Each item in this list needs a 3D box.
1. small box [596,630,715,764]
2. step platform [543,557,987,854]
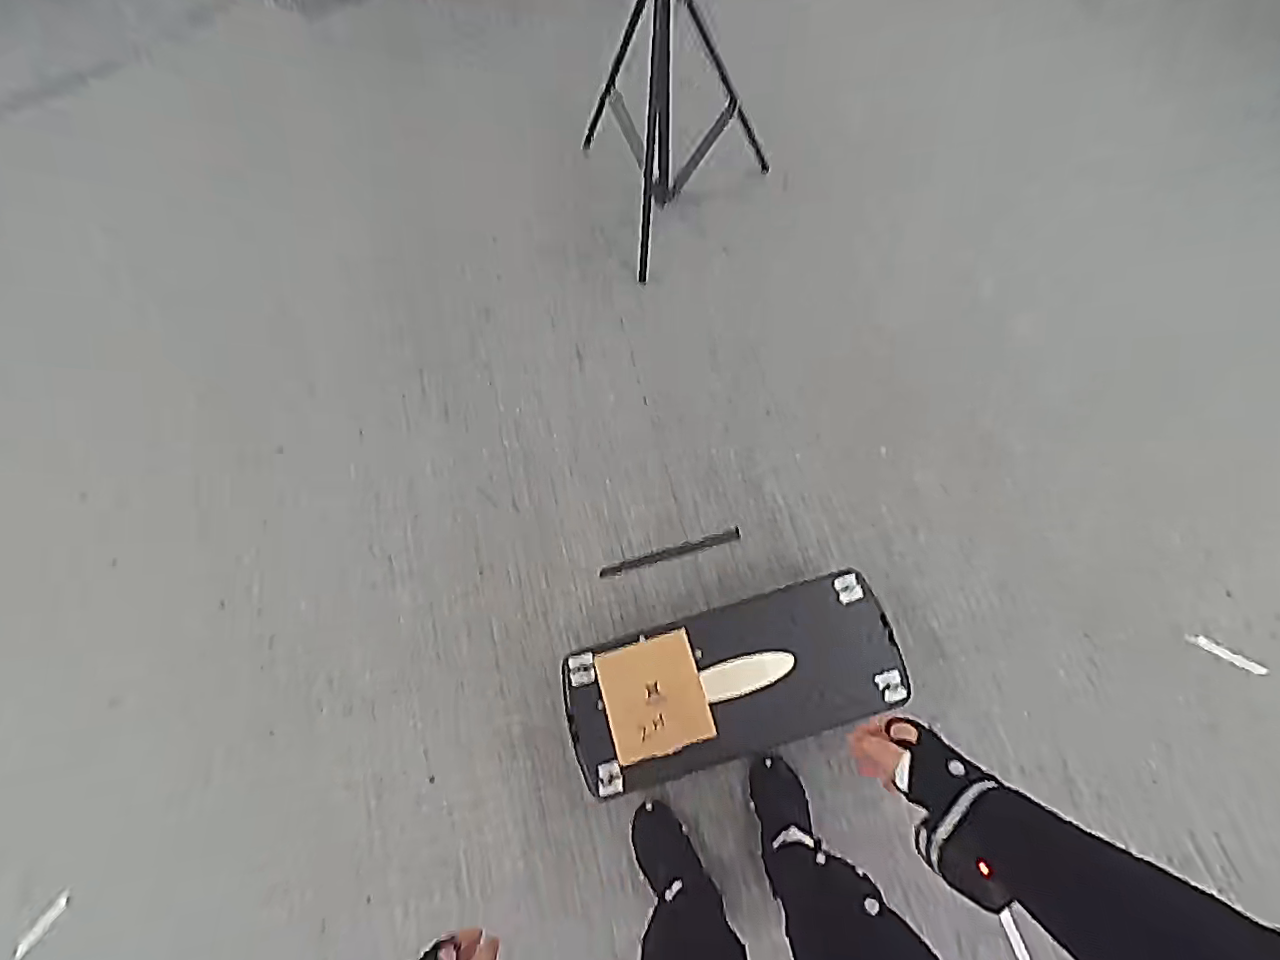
[{"bbox_3d":[0.025,0.385,0.972,0.168,0.176,0.179,-16,70,-3],"label":"small box"},{"bbox_3d":[0.194,0.371,0.933,0.684,0.204,0.286,-16,69,-4],"label":"step platform"}]
